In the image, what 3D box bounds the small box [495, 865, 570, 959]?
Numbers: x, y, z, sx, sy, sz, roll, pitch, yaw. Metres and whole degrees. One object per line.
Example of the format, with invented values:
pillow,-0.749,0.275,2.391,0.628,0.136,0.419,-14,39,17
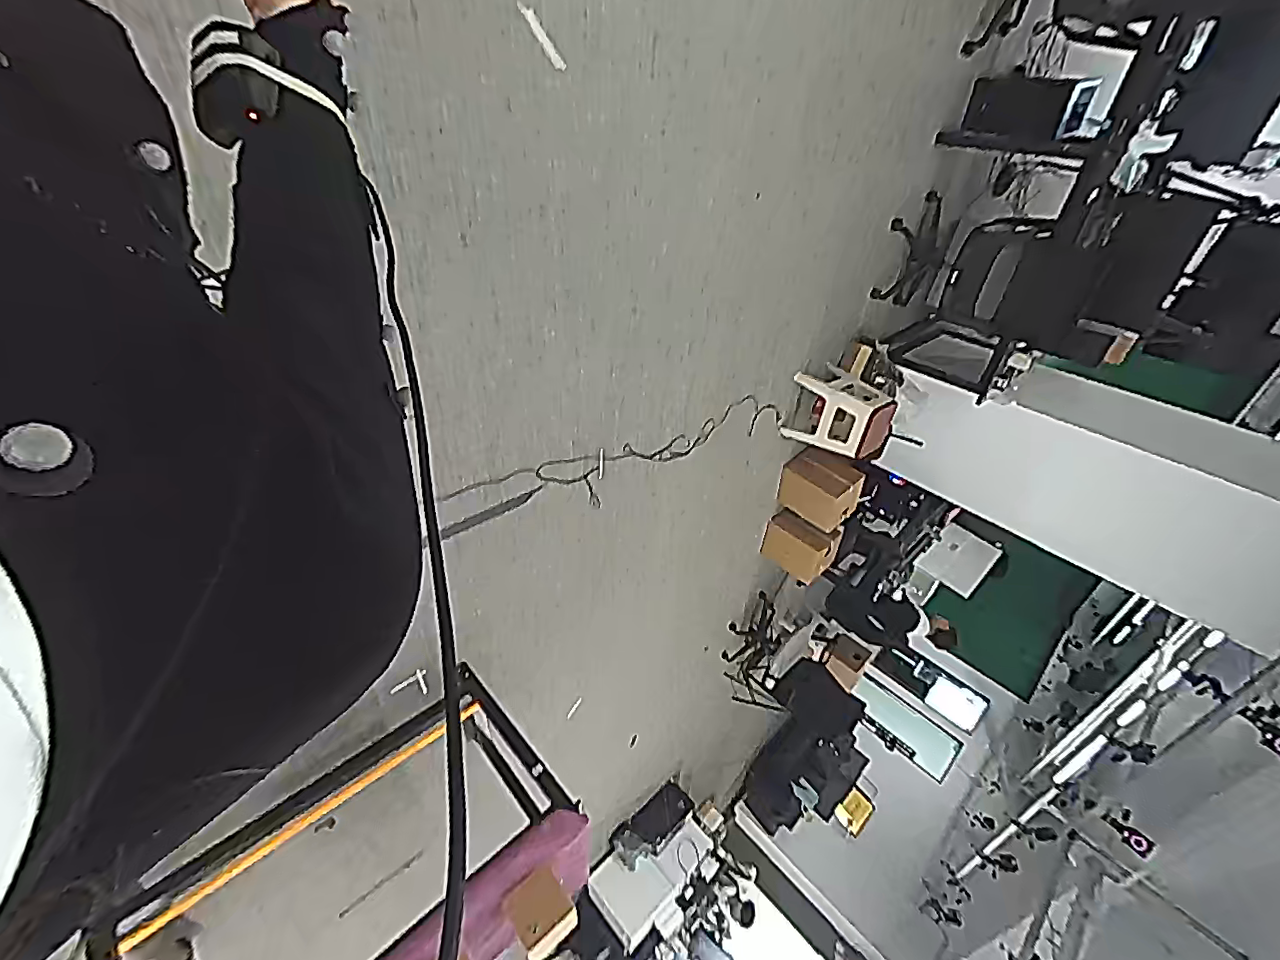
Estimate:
small box,-0.343,1.381,1.713,0.179,0.176,0.168,-27,137,-32
